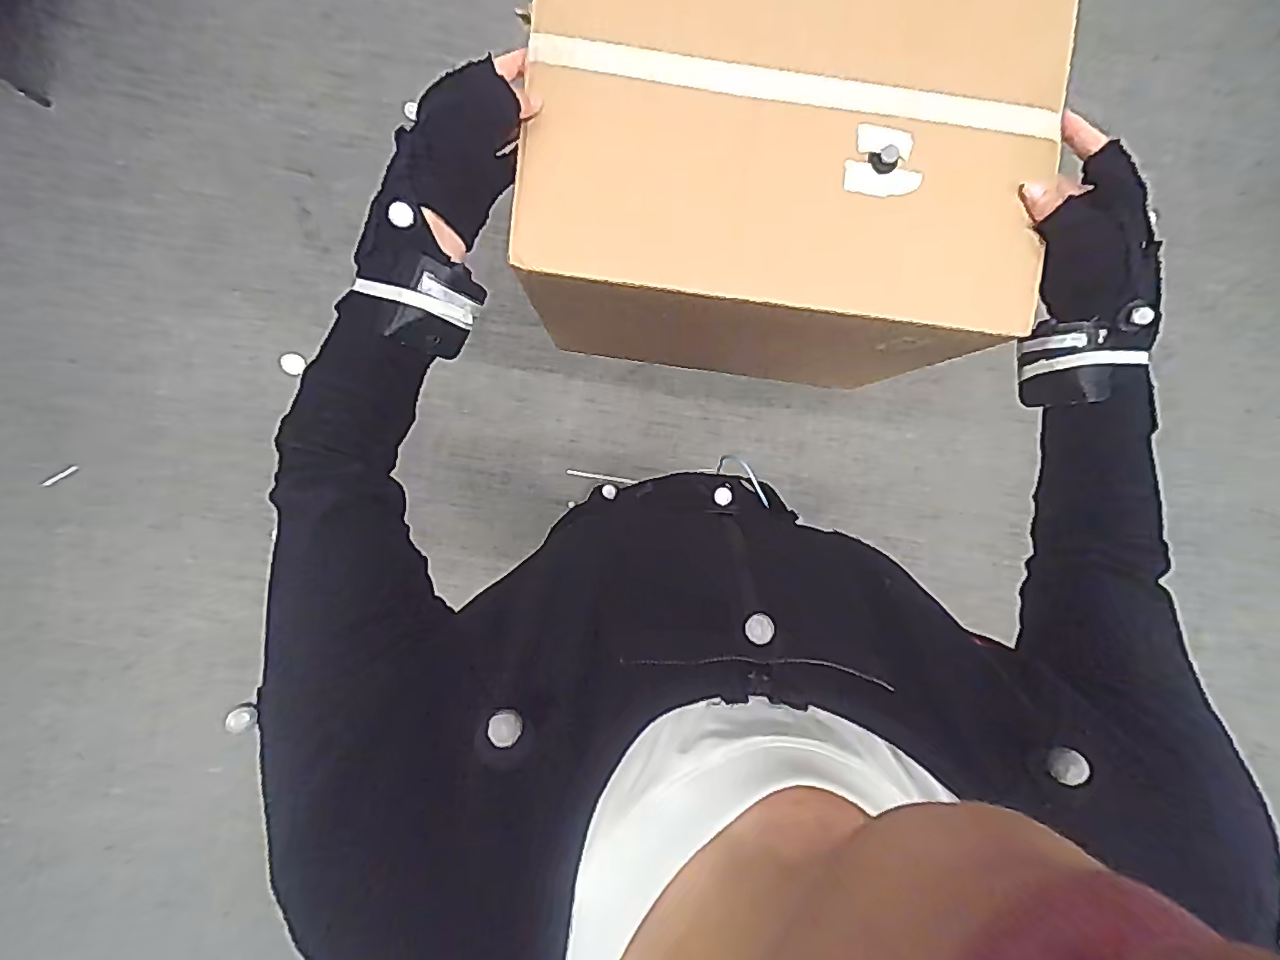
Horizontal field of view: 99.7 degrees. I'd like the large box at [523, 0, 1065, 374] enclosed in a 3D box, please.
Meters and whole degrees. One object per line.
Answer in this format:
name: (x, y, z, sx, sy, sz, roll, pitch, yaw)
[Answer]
large box: (0.114, -0.305, 0.563, 0.408, 0.320, 0.320, 7, 93, -3)
